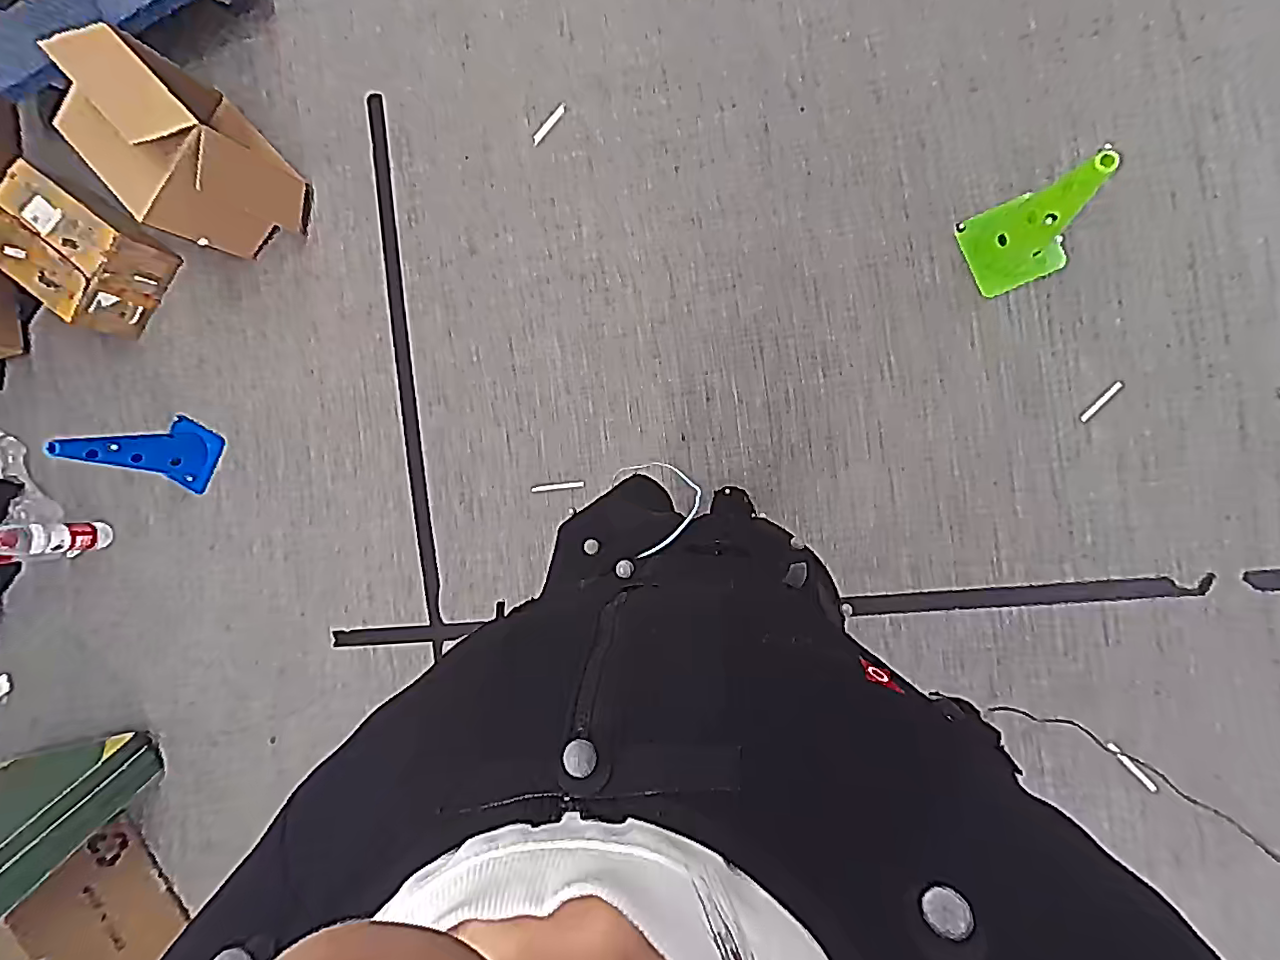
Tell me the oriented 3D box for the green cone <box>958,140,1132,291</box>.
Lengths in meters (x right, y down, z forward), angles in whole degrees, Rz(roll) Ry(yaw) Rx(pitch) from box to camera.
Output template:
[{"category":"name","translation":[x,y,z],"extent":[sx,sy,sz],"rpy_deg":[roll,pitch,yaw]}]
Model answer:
[{"category":"green cone","translation":[0.867,-0.574,1.126],"extent":[0.202,0.368,0.200],"rpy_deg":[-23,87,8]}]
